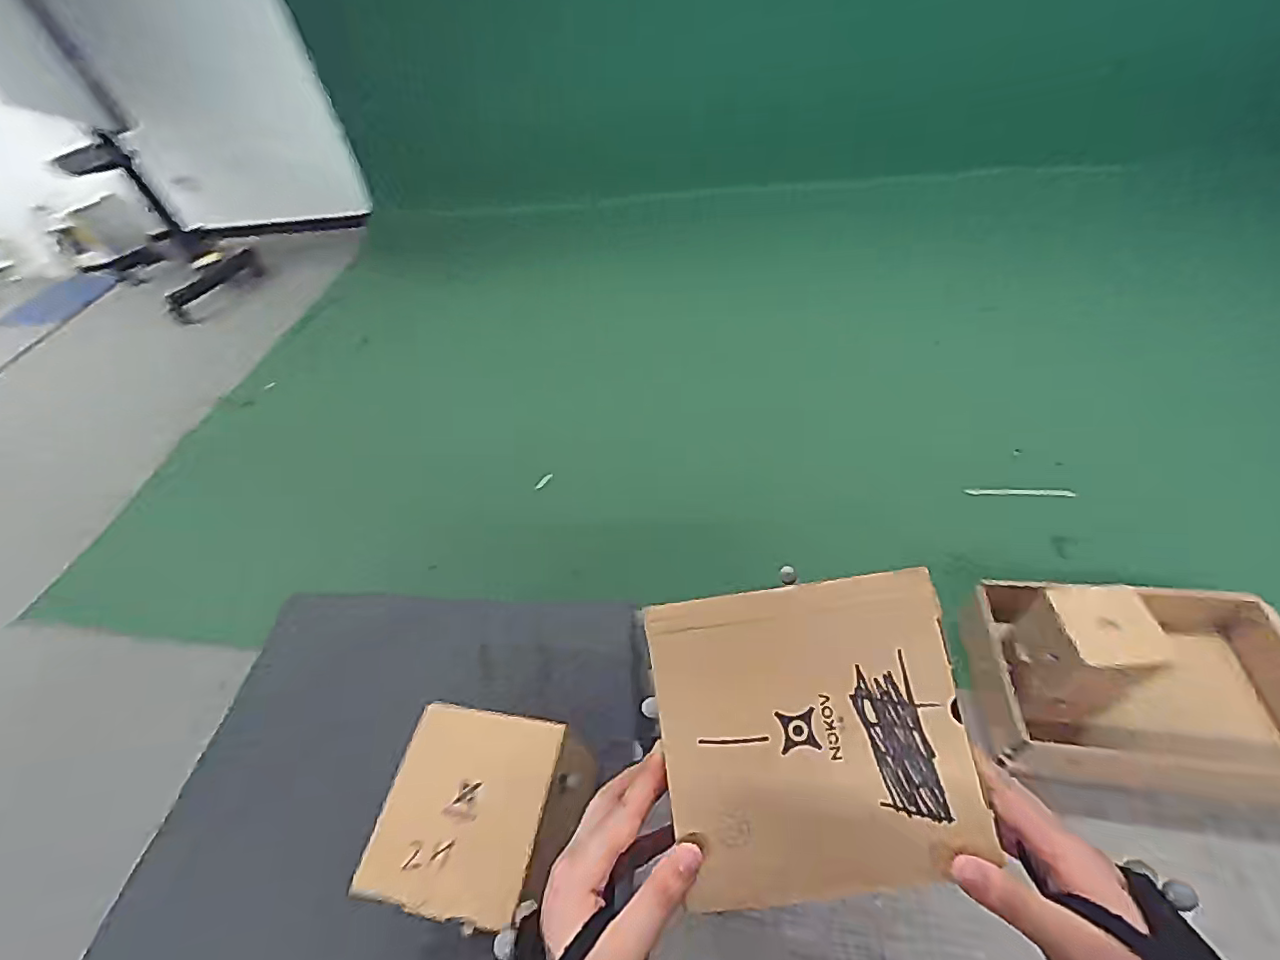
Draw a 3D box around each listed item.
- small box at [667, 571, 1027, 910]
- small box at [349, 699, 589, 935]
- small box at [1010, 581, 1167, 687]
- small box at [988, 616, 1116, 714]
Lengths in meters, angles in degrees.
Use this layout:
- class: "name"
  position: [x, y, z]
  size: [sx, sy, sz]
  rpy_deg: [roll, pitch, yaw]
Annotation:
- class: "small box"
  position: [0.113, 0.157, 0.379]
  size: [0.179, 0.176, 0.168]
  rpy_deg: [-7, 76, 2]
- class: "small box"
  position: [-0.163, 0.365, 0.588]
  size: [0.168, 0.176, 0.179]
  rpy_deg: [3, 51, 13]
- class: "small box"
  position: [0.930, 0.332, 1.150]
  size: [0.179, 0.176, 0.168]
  rpy_deg: [-4, 51, 2]
- class: "small box"
  position: [0.952, 0.437, 1.274]
  size: [0.179, 0.176, 0.168]
  rpy_deg: [2, 51, 11]
